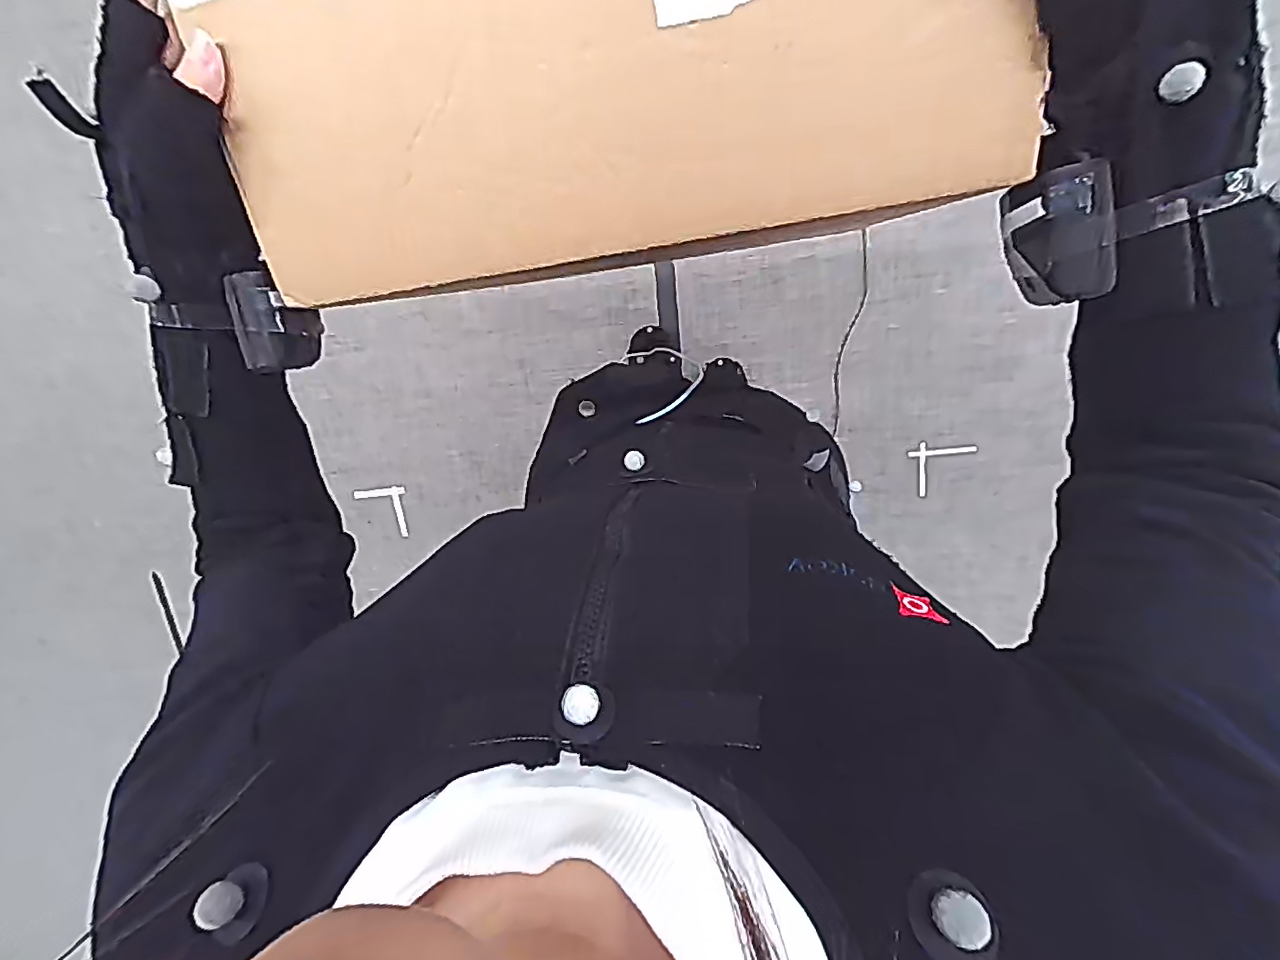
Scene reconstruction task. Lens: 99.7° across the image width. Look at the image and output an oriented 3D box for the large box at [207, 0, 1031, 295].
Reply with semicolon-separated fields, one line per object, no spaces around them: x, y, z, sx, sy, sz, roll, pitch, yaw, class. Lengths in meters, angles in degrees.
-0.015;-0.331;0.383;0.408;0.320;0.320;-6;112;10;large box
